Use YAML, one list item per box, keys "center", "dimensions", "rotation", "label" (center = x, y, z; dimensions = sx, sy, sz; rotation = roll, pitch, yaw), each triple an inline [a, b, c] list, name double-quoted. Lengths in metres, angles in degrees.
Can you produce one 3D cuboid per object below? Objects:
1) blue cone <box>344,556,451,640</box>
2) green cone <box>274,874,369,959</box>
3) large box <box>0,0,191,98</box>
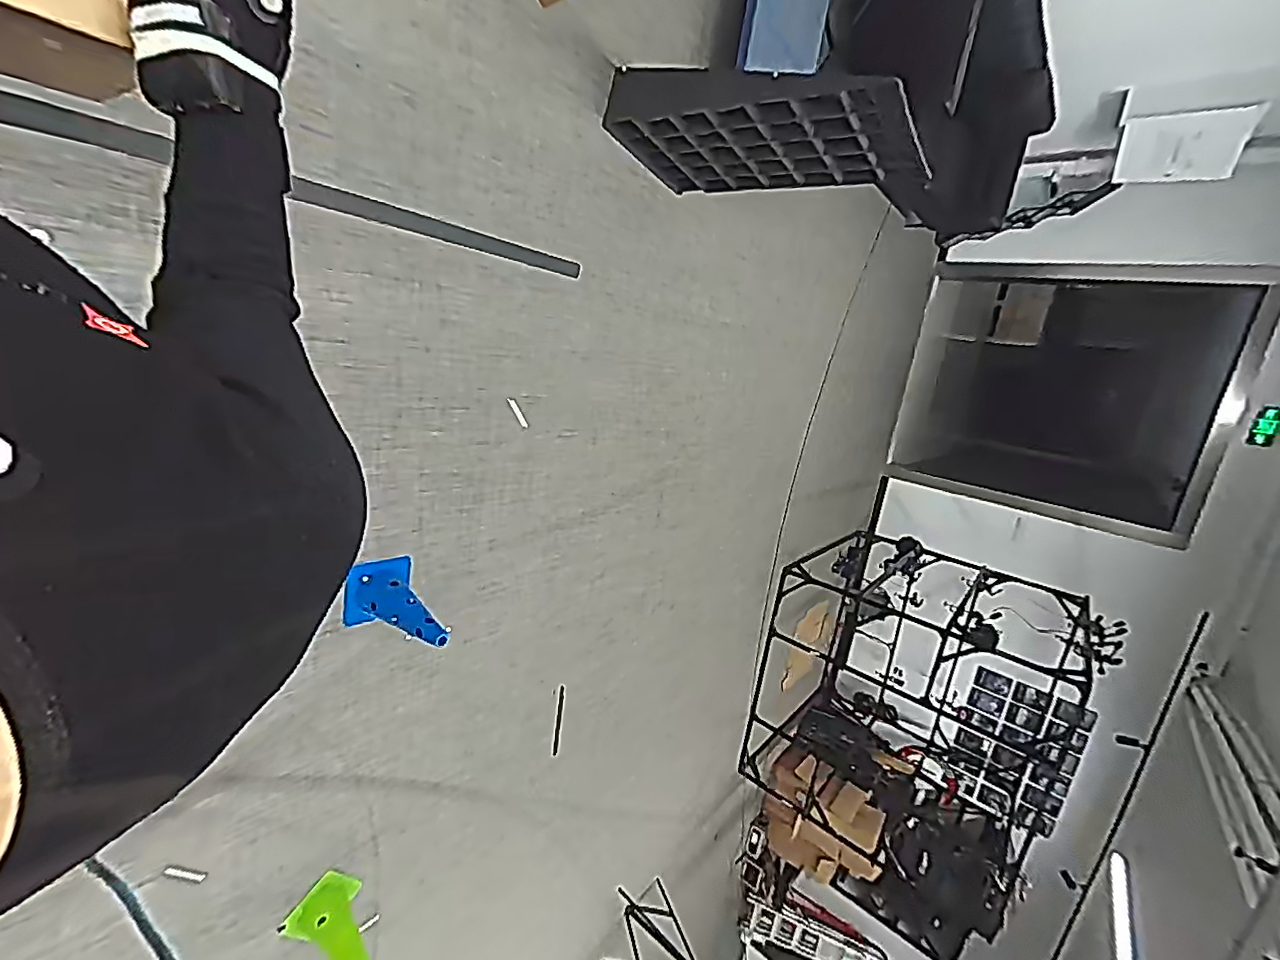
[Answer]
- center: [-0.685, 0.377, 1.577]
  dimensions: [0.192, 0.380, 0.193]
  rotation: [-4, 108, -53]
  label: "blue cone"
- center: [-0.939, 1.473, 1.703]
  dimensions: [0.202, 0.368, 0.200]
  rotation: [-50, 140, -30]
  label: "green cone"
- center: [-0.536, -0.456, 0.271]
  dimensions: [0.408, 0.320, 0.320]
  rotation: [-12, 118, -52]
  label: "large box"
